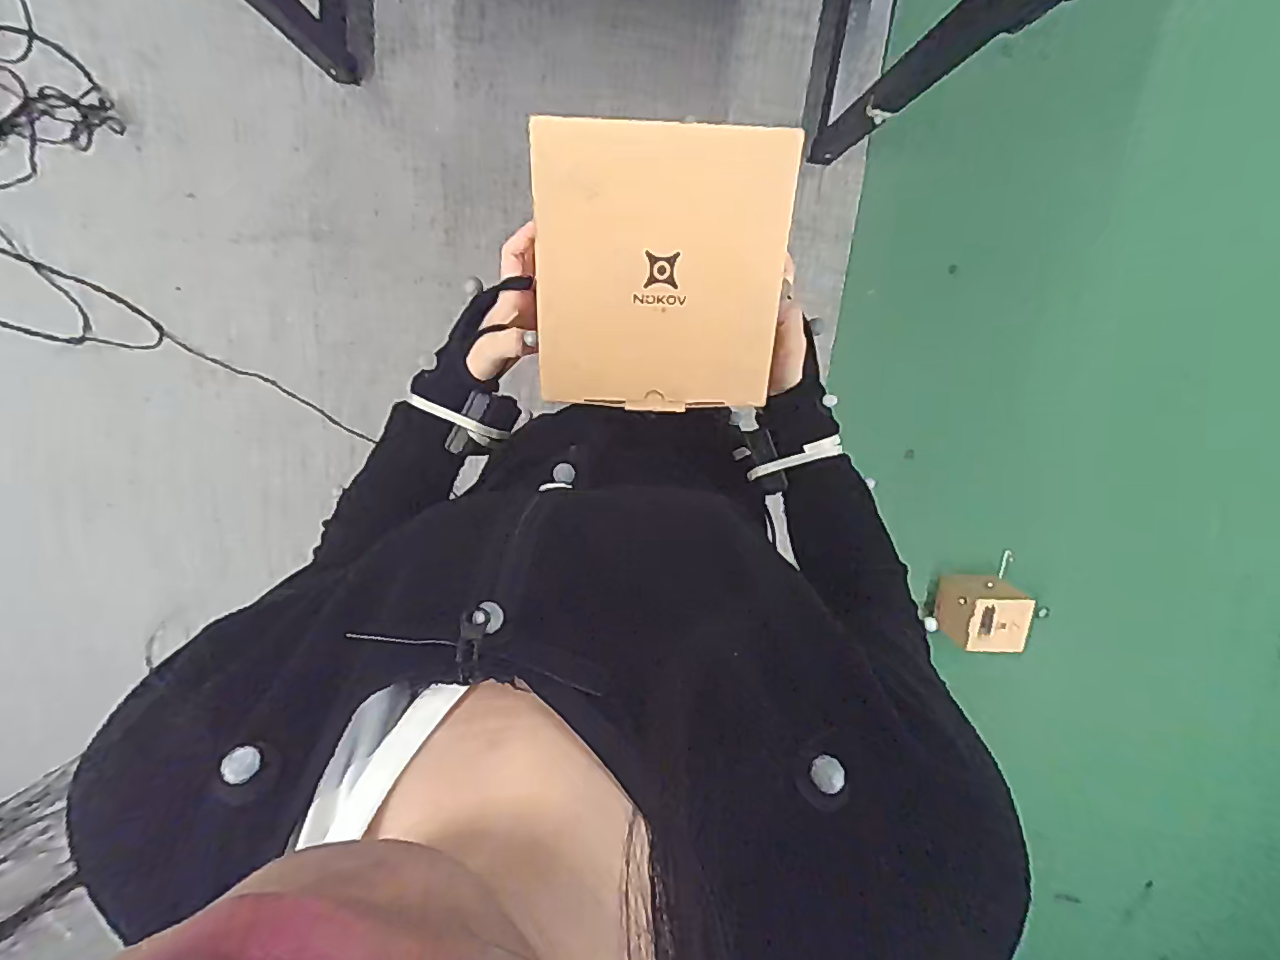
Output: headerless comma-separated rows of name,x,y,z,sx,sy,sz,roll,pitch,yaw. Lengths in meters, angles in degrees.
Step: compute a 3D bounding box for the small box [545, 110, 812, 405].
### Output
small box,0.014,-0.169,0.427,0.168,0.176,0.179,1,116,-4
